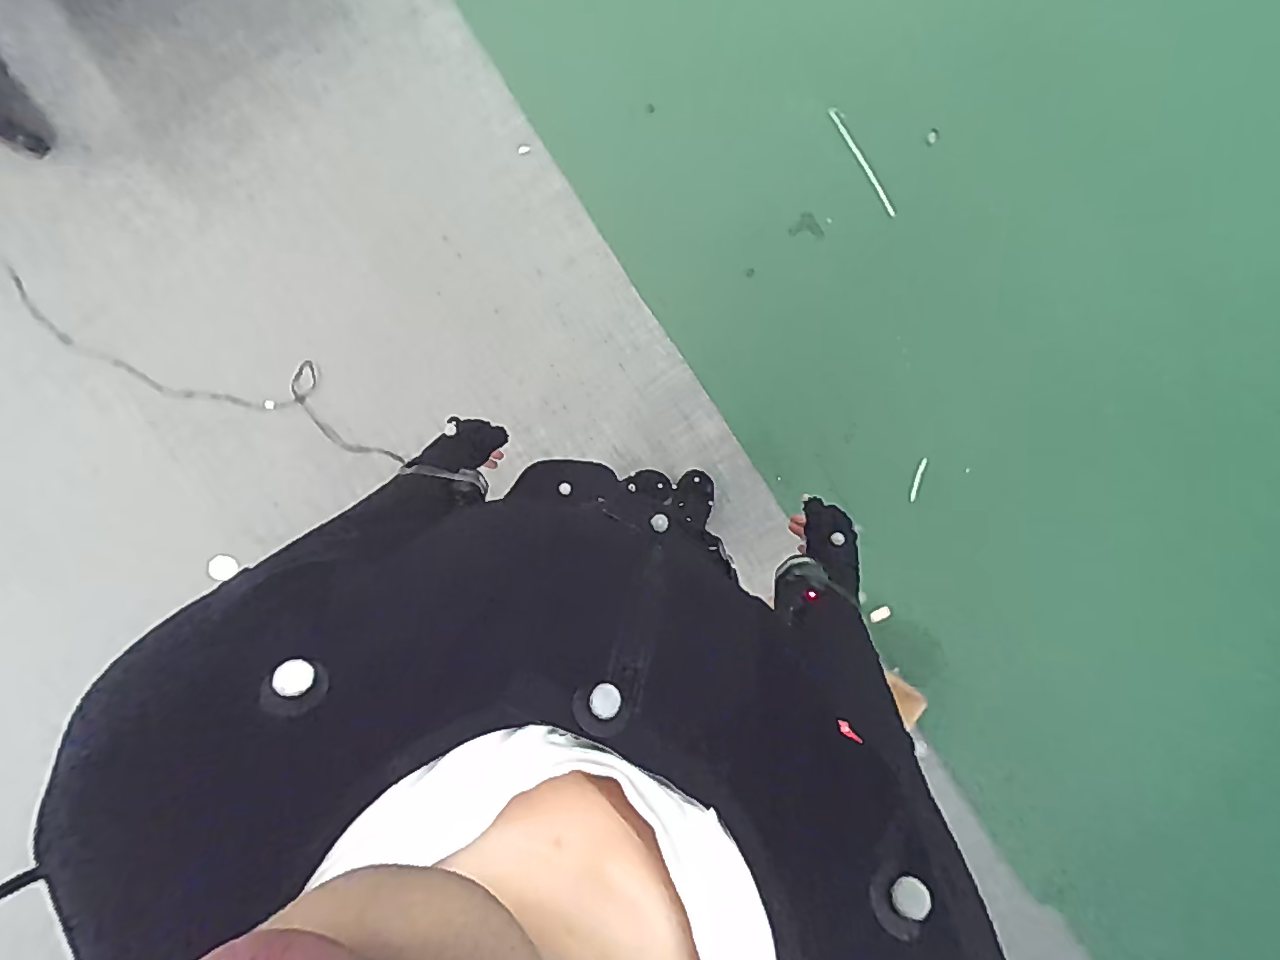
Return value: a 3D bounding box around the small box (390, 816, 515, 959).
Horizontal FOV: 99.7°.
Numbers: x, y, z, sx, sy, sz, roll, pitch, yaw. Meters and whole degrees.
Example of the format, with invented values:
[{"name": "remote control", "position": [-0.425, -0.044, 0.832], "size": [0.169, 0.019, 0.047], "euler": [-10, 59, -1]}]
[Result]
[{"name": "small box", "position": [-0.384, 0.863, 1.150], "size": [0.179, 0.176, 0.168], "euler": [-25, 91, 4]}]
